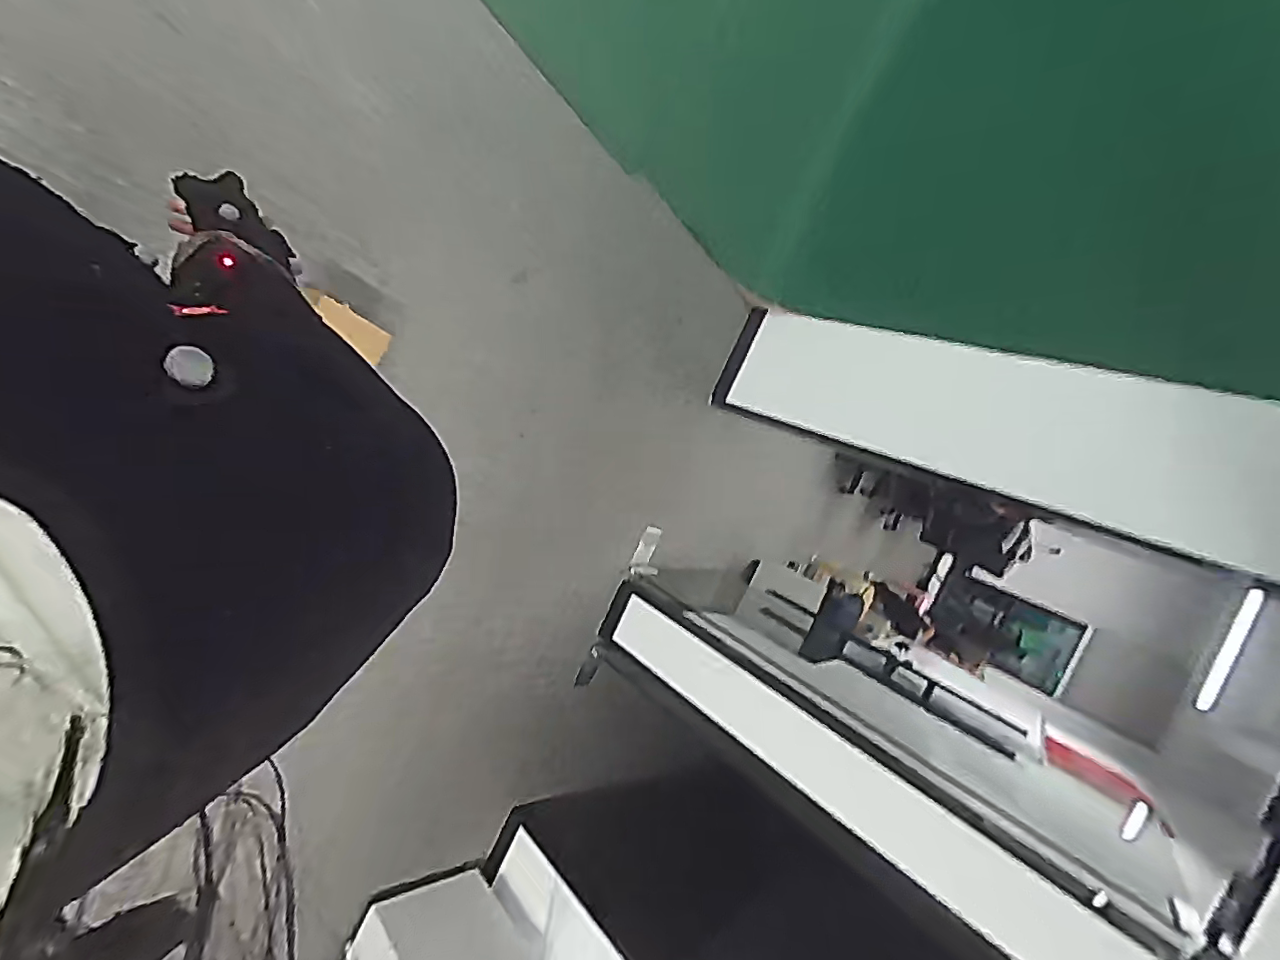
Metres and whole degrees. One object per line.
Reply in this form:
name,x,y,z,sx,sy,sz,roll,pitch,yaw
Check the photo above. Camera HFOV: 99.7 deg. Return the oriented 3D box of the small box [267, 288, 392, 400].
small box,-0.710,-0.311,1.228,0.168,0.176,0.179,33,83,-52
